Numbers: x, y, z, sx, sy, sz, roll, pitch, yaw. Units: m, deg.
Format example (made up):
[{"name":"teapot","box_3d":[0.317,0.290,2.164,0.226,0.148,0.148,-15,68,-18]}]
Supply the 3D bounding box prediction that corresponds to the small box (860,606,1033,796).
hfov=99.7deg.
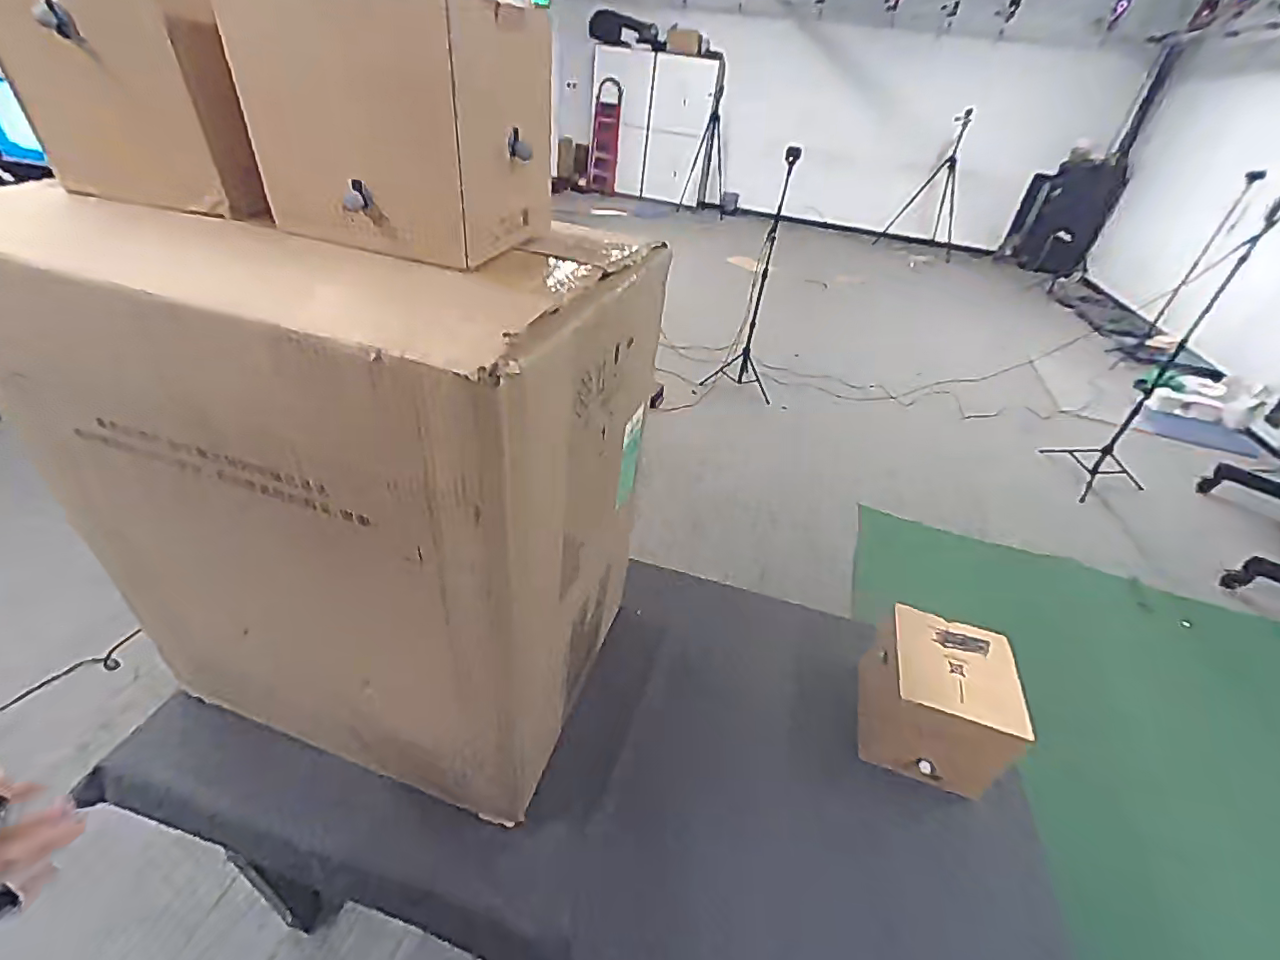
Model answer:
[{"name":"small box","box_3d":[0.441,0.329,0.814,0.168,0.176,0.179,16,37,12]}]

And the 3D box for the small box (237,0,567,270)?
[{"name":"small box","box_3d":[-0.174,-0.288,0.450,0.179,0.176,0.168,15,38,8]}]
